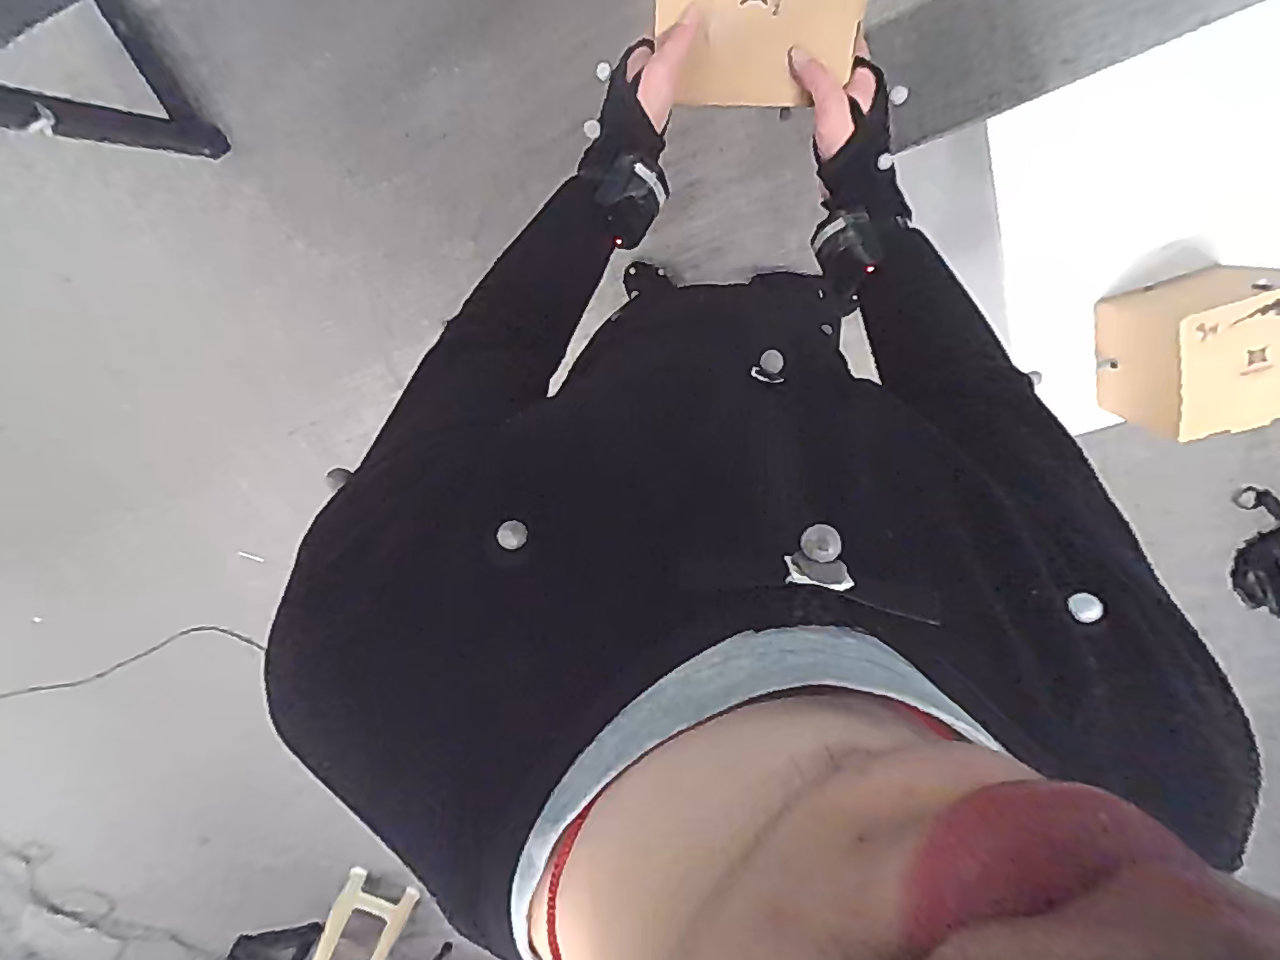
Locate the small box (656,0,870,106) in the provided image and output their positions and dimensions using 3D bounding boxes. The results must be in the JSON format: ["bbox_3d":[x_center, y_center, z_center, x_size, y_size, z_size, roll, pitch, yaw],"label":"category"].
[{"bbox_3d":[0.107,-0.450,0.499,0.179,0.176,0.168,2,127,4],"label":"small box"}]

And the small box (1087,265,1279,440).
[{"bbox_3d":[0.771,-0.184,0.759,0.168,0.176,0.179,-16,113,12],"label":"small box"}]
